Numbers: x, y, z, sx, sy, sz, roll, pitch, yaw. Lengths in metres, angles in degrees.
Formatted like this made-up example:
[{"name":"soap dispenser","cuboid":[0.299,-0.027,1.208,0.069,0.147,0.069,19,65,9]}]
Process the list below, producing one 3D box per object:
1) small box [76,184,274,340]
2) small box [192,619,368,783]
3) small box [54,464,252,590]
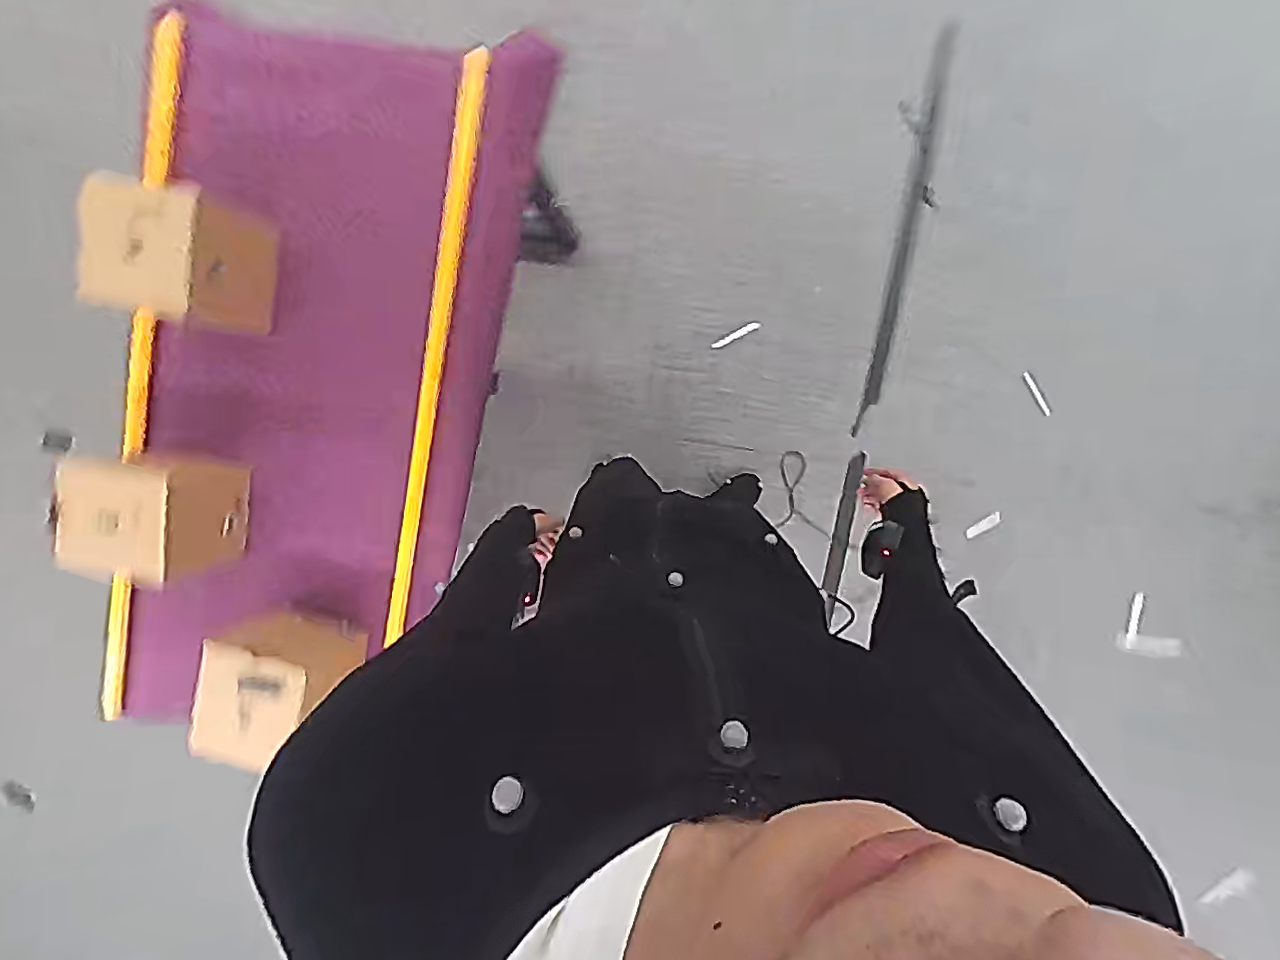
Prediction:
[{"name":"small box","cuboid":[-0.708,-0.325,0.840,0.168,0.176,0.179,9,96,2]},{"name":"small box","cuboid":[-0.579,0.350,0.891,0.168,0.176,0.179,13,96,3]},{"name":"small box","cuboid":[-0.784,0.067,0.883,0.179,0.176,0.168,7,97,3]}]
